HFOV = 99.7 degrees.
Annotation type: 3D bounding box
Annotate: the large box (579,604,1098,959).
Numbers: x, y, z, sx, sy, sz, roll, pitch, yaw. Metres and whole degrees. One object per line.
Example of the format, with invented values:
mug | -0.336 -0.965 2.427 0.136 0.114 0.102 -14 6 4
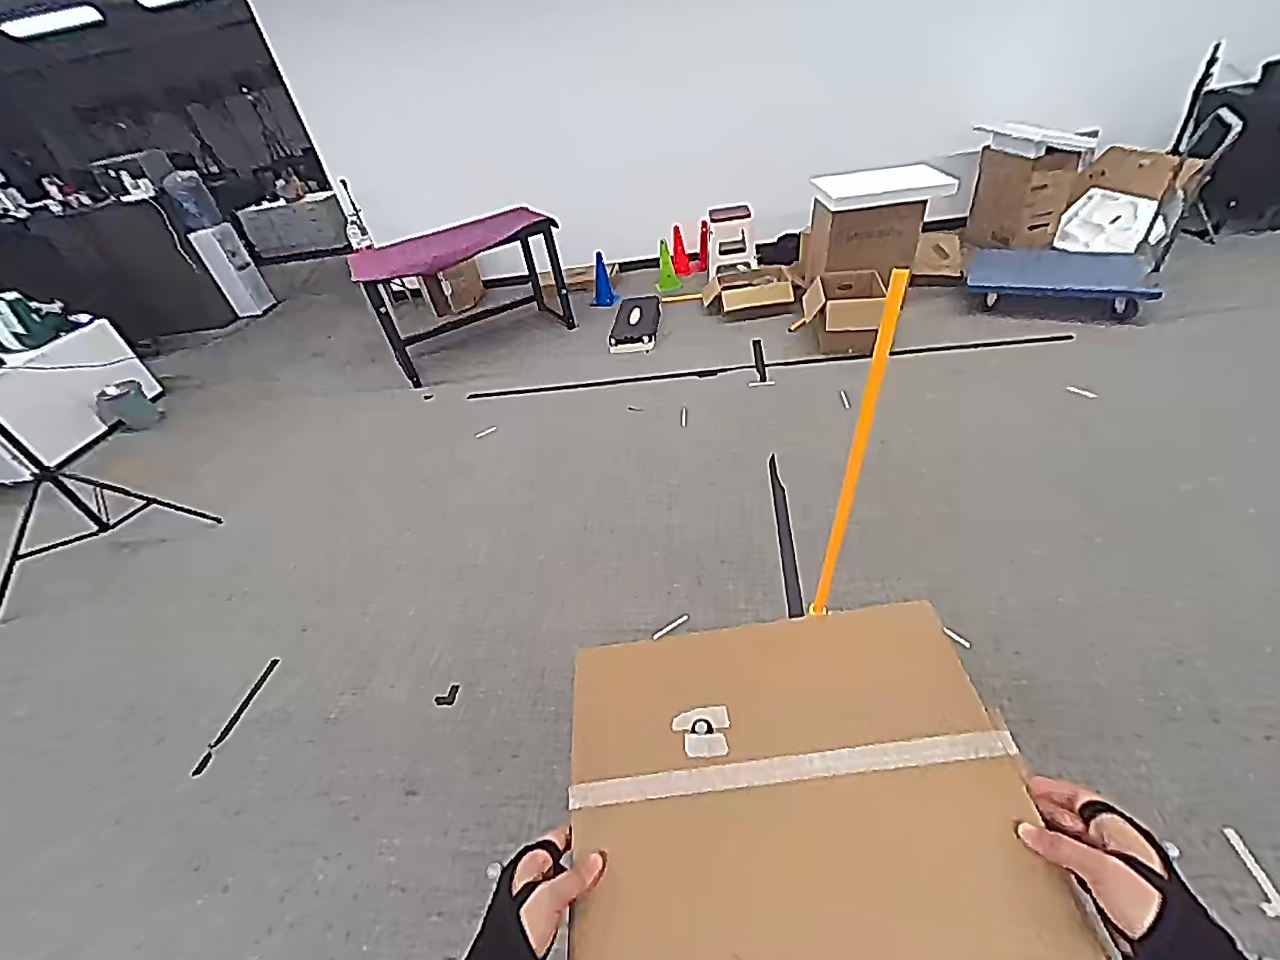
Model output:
large box | 0.168 0.385 0.621 0.408 0.320 0.320 -11 43 6
